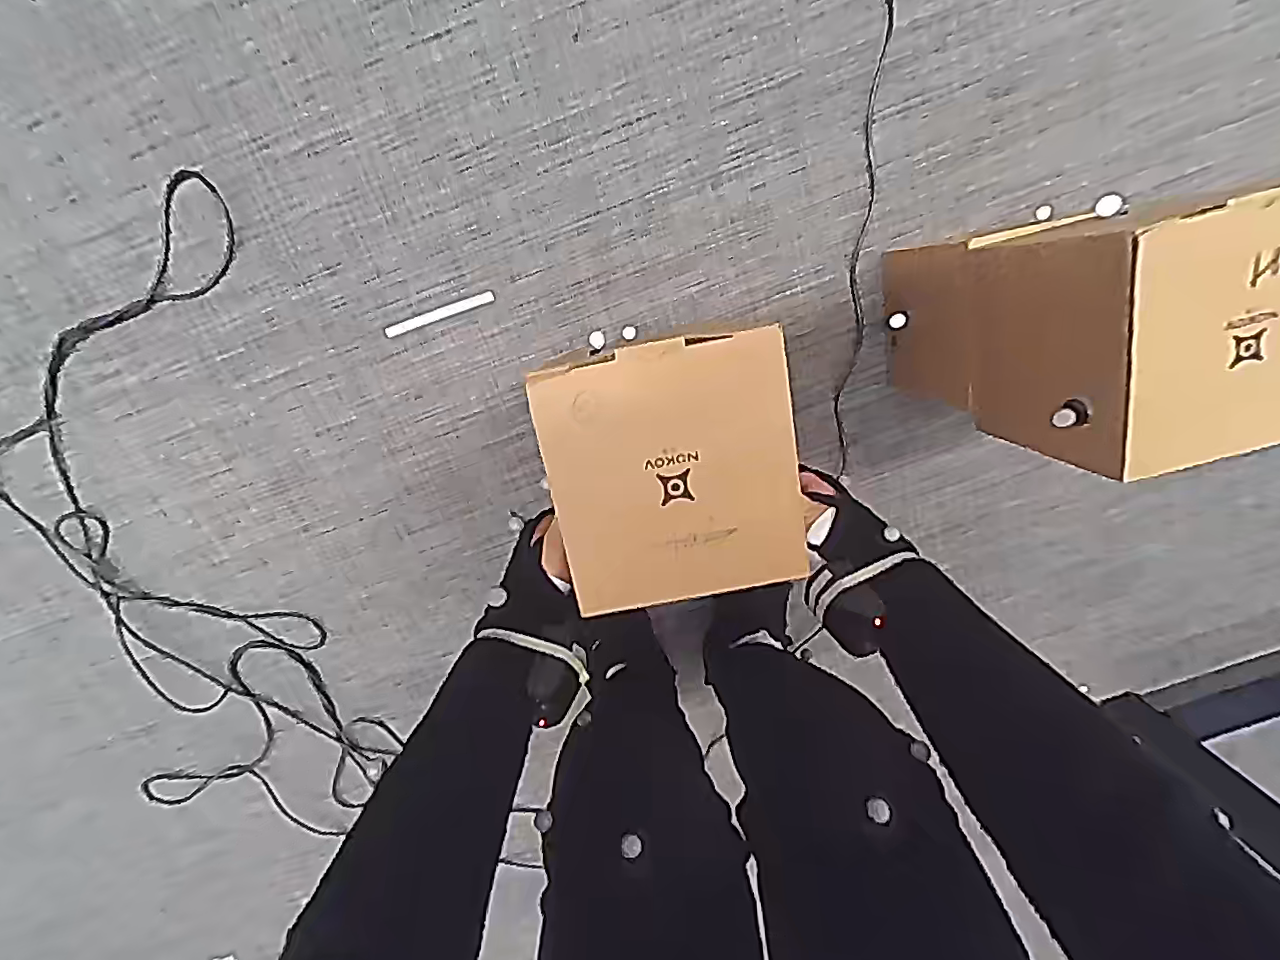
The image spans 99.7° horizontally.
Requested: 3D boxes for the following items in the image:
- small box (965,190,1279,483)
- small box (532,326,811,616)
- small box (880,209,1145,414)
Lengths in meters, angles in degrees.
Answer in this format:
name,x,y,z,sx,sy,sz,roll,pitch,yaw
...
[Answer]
name,x,y,z,sx,sy,sz,roll,pitch,yaw
small box,0.398,-0.121,0.443,0.168,0.176,0.179,-15,108,1
small box,0.024,-0.021,0.436,0.168,0.176,0.179,-11,107,3
small box,0.391,-0.184,0.595,0.179,0.176,0.168,-12,108,1
